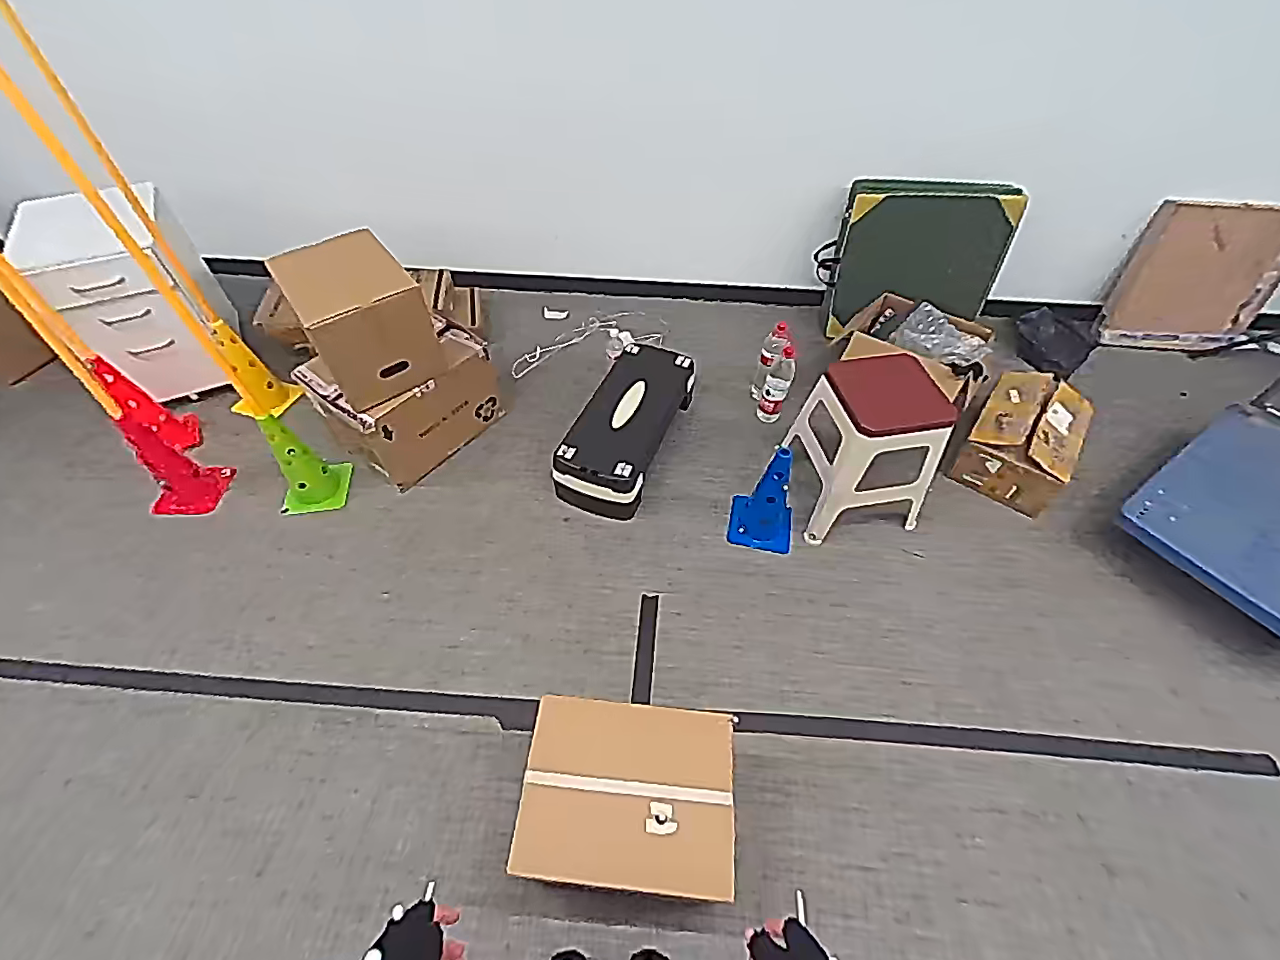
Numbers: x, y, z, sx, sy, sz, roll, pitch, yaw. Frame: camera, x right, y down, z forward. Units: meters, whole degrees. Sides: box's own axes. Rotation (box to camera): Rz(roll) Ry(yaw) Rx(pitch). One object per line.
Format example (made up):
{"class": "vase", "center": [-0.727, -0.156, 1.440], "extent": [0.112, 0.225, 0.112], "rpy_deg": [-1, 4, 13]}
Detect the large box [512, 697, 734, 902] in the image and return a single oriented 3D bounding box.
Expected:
{"class": "large box", "center": [-0.027, 0.688, 1.158], "extent": [0.408, 0.320, 0.320], "rpy_deg": [6, 52, 2]}
